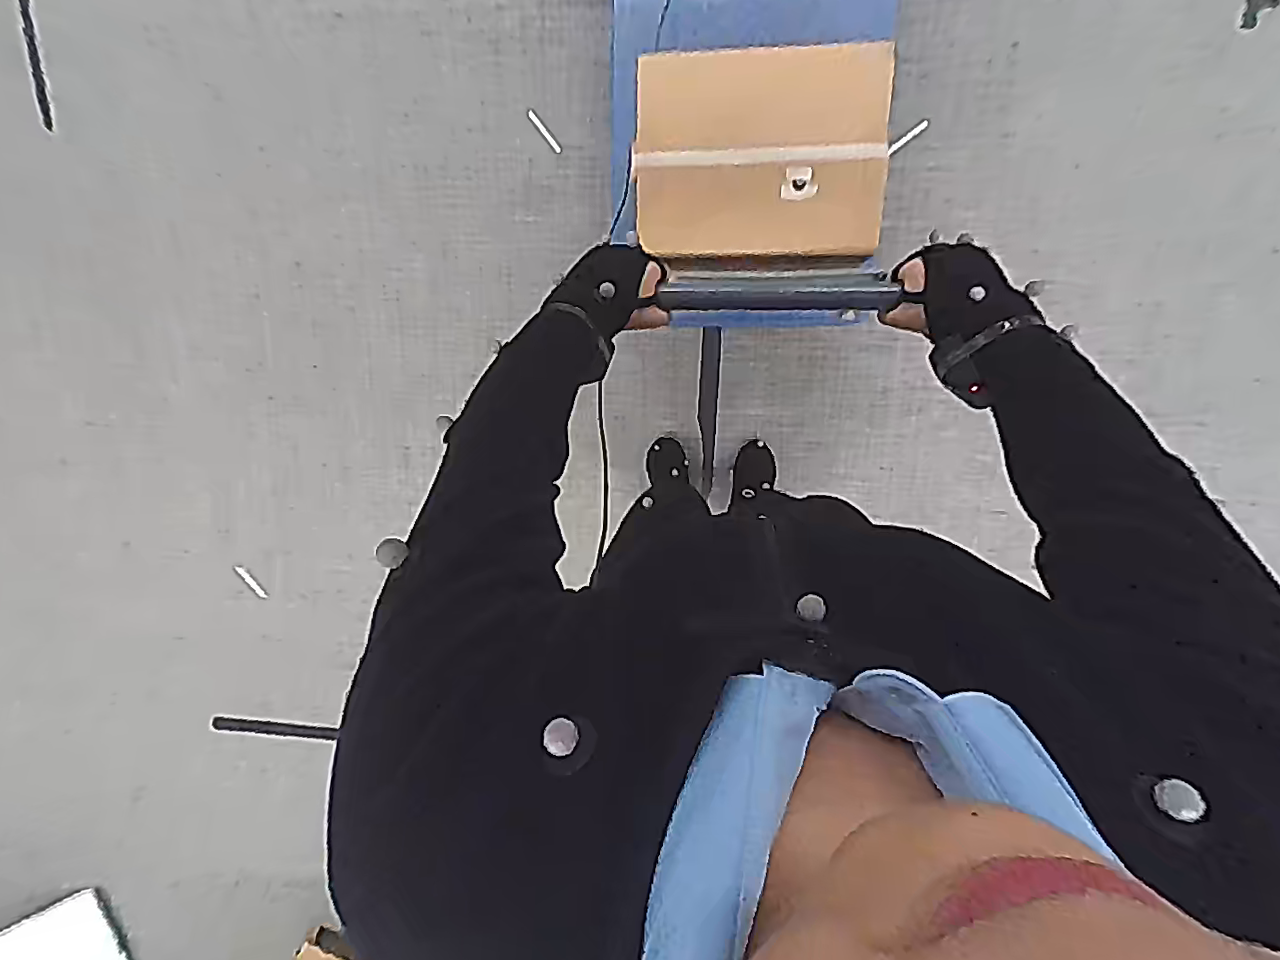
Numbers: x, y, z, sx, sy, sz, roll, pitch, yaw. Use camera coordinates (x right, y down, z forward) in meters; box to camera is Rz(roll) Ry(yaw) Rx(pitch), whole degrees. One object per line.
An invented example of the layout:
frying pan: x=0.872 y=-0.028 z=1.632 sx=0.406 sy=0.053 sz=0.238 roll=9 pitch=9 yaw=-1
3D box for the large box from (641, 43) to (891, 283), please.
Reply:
large box: x=0.214 y=-0.571 z=1.047 sx=0.408 sy=0.320 sz=0.320 roll=1 pitch=102 yaw=5
